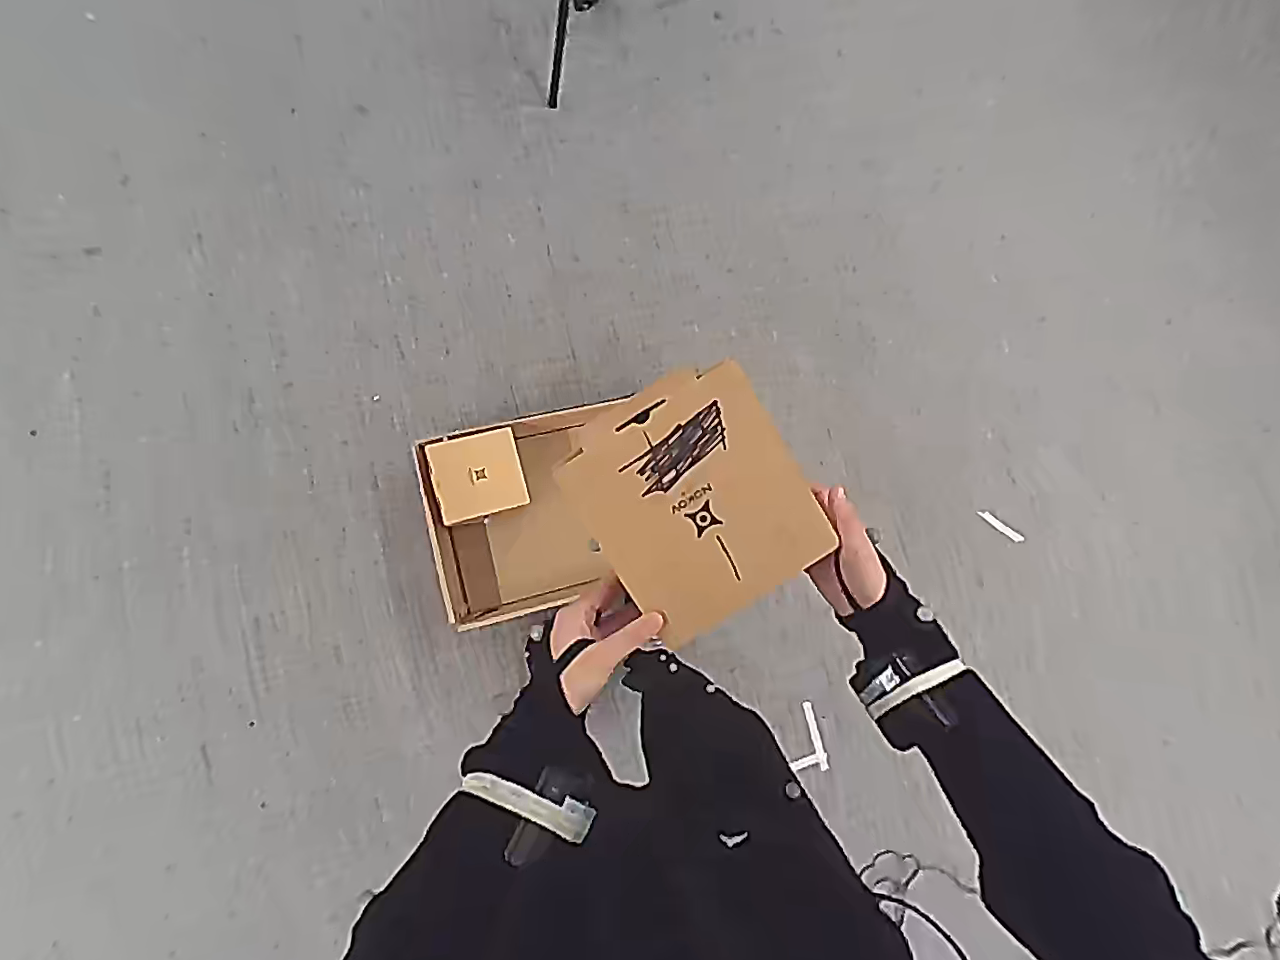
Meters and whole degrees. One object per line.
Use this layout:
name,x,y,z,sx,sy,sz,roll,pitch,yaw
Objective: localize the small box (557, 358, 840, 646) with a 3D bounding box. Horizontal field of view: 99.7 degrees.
small box,0.042,0.013,0.500,0.168,0.176,0.179,-33,97,1
